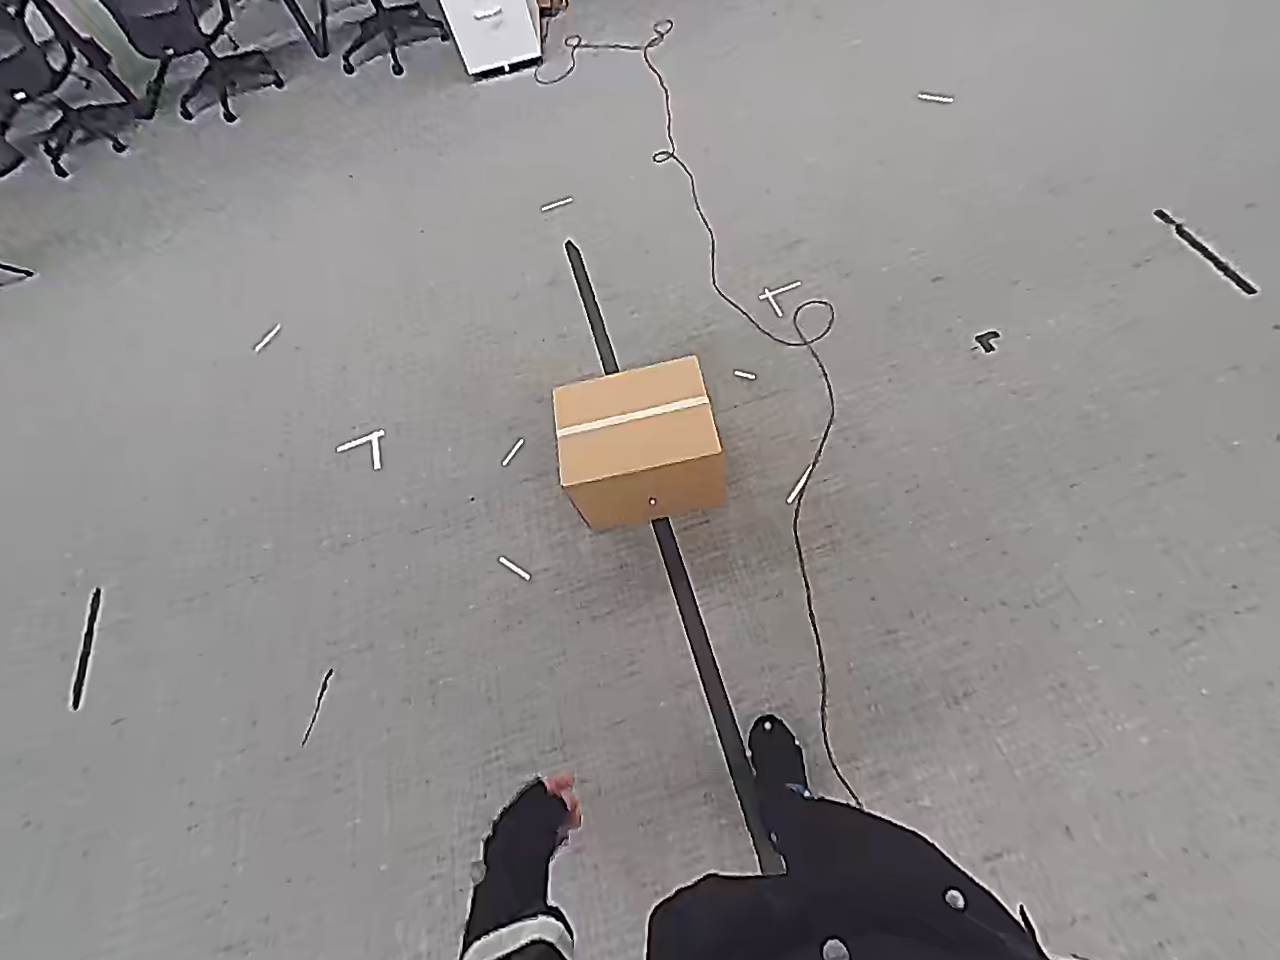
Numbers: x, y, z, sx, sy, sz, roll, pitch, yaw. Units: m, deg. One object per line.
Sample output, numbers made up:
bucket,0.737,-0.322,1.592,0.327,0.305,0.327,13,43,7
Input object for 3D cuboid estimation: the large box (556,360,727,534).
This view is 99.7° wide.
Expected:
large box,0.012,-0.079,1.514,0.408,0.320,0.320,-13,62,5
